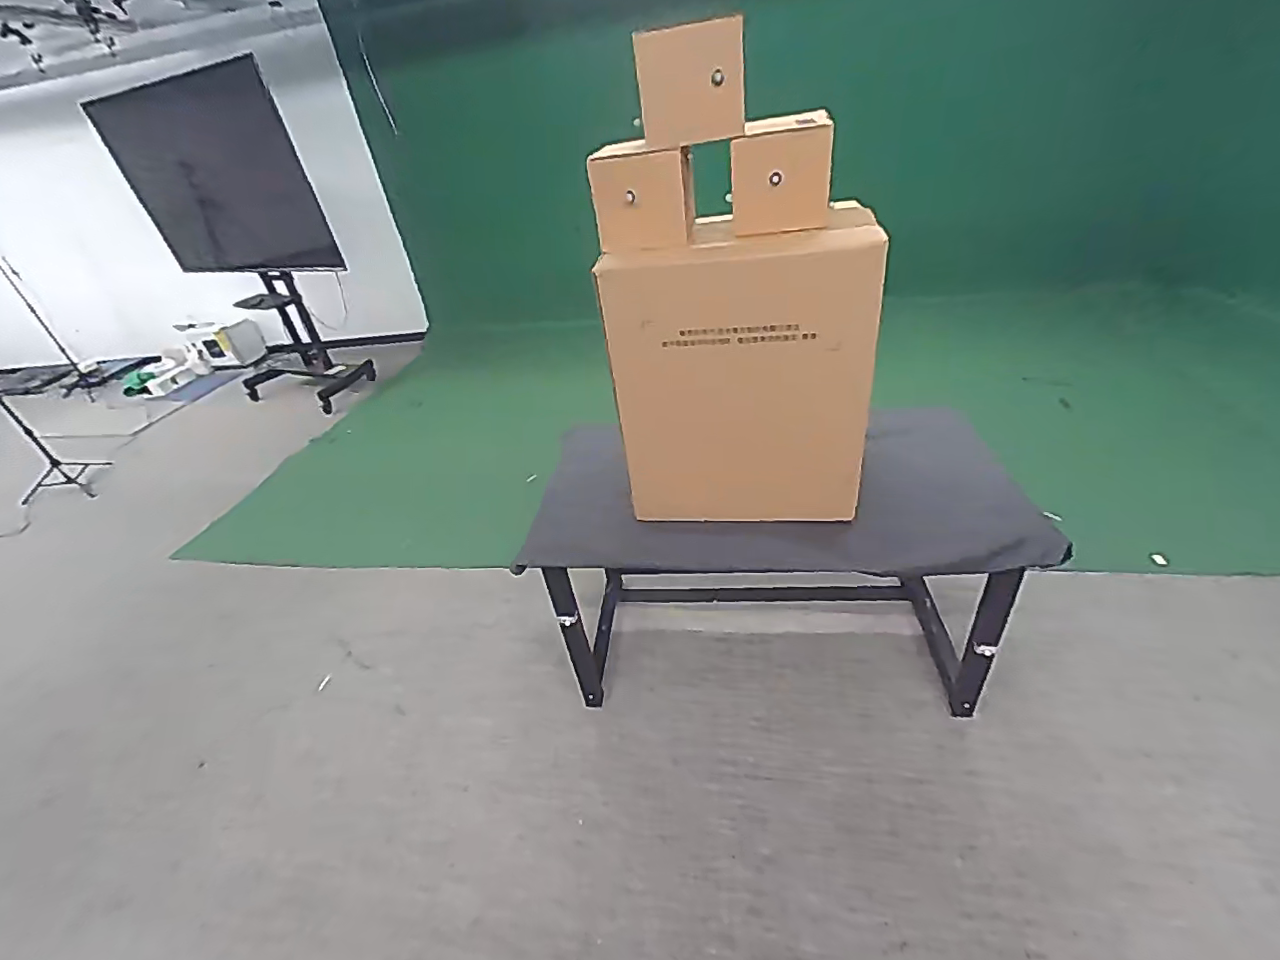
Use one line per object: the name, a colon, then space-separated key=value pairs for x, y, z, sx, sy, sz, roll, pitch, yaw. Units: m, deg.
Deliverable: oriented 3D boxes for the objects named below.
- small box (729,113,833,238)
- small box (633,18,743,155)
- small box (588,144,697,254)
small box: x=0.268 y=-0.583 z=1.041 sx=0.179 sy=0.176 sz=0.168 roll=-1 pitch=39 yaw=14
small box: x=0.087 y=-0.696 z=0.964 sx=0.179 sy=0.176 sz=0.168 roll=-8 pitch=37 yaw=5
small box: x=0.013 y=-0.563 z=1.079 sx=0.179 sy=0.176 sz=0.168 roll=0 pitch=39 yaw=13
